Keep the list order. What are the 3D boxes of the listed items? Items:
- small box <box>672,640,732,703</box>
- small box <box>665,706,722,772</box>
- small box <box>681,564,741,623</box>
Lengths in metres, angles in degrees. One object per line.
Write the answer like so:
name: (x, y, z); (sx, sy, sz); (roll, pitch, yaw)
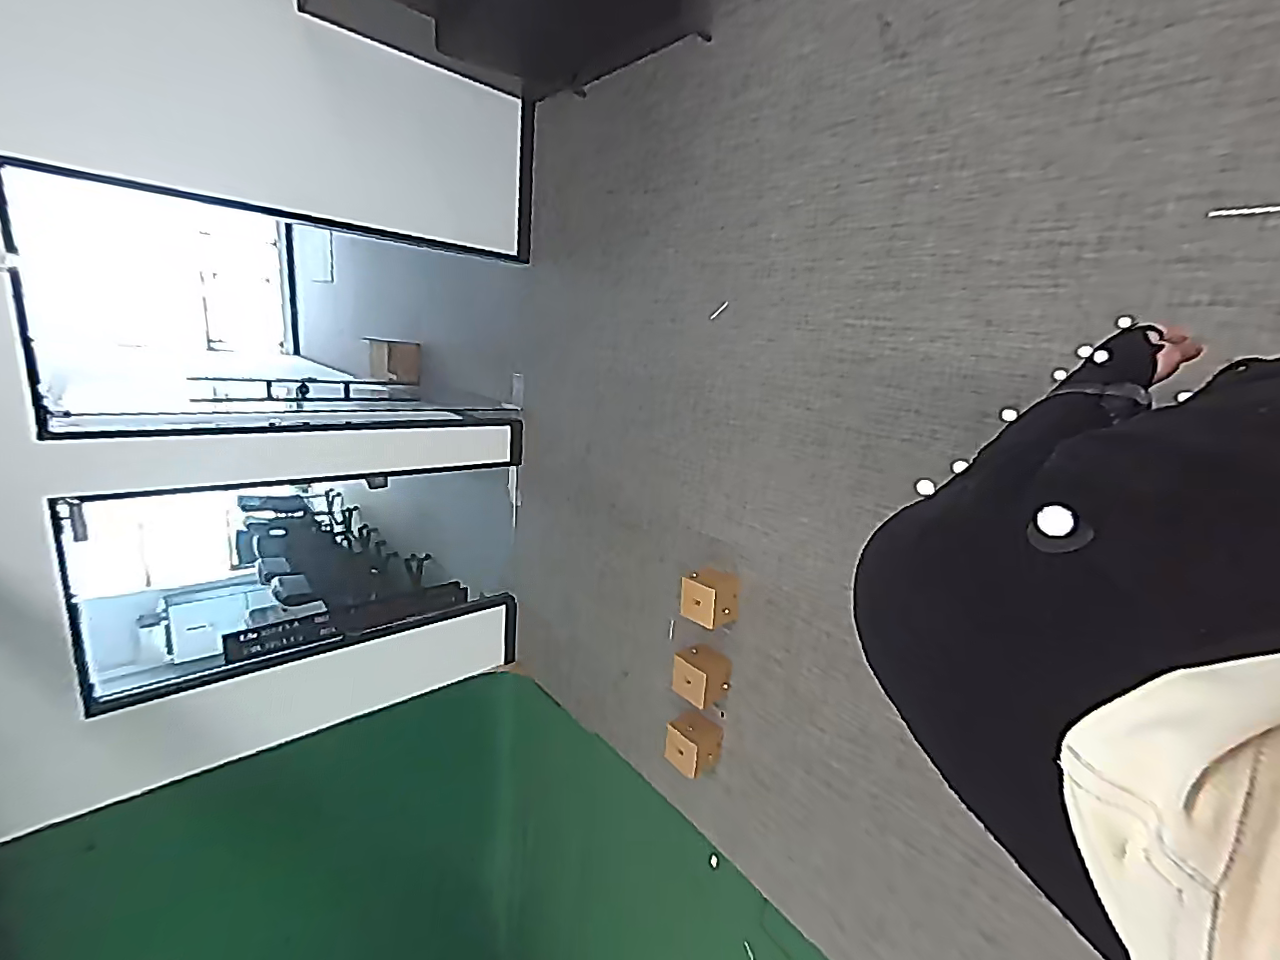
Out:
small box: (0.260, 0.791, 2.262); (0.179, 0.176, 0.168); (19, 110, 46)
small box: (0.234, 1.110, 2.336); (0.179, 0.176, 0.168); (19, 109, 46)
small box: (0.287, 0.452, 2.181); (0.179, 0.176, 0.168); (15, 107, 48)
